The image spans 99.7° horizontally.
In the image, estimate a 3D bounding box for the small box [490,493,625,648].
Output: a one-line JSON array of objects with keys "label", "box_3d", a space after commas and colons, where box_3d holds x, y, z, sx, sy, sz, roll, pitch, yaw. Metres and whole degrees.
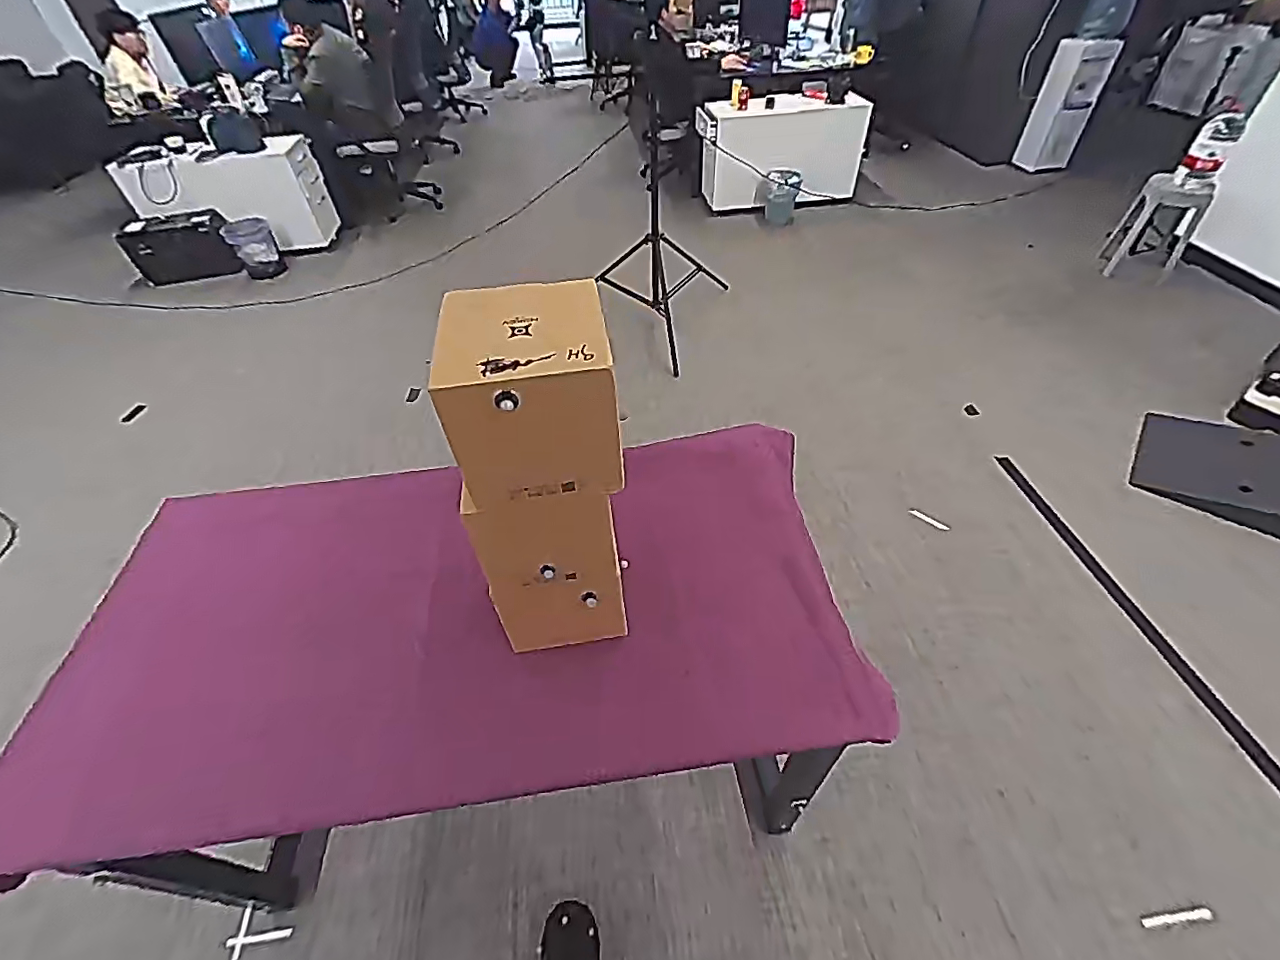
[{"label": "small box", "box_3d": [-0.119, 0.136, 0.826, 0.179, 0.176, 0.168, -8, 46, -4]}]

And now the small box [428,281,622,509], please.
[{"label": "small box", "box_3d": [-0.114, -0.094, 0.591, 0.168, 0.176, 0.179, -8, 46, -4]}]
